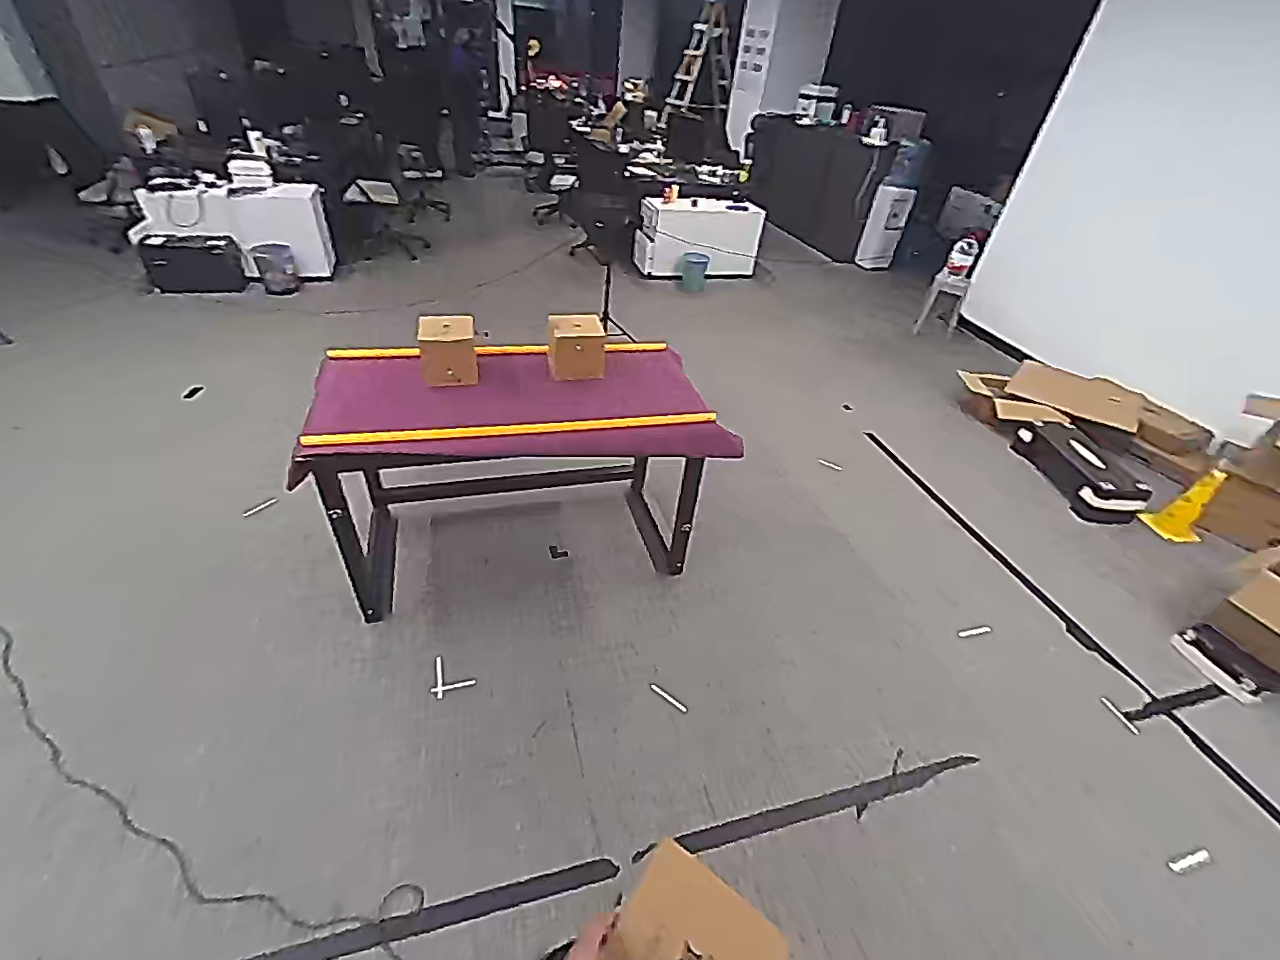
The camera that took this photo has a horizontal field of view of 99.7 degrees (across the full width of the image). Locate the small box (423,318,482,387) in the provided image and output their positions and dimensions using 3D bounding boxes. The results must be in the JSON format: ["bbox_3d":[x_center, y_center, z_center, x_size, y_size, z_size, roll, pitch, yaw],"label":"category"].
[{"bbox_3d":[-0.622,-0.425,1.801,0.168,0.176,0.179,-5,42,-14],"label":"small box"}]

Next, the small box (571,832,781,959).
[{"bbox_3d":[0.032,0.563,0.637,0.179,0.176,0.168,31,47,16],"label":"small box"}]

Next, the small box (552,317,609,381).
[{"bbox_3d":[-0.214,-0.462,1.909,0.179,0.176,0.168,-6,42,-14],"label":"small box"}]
